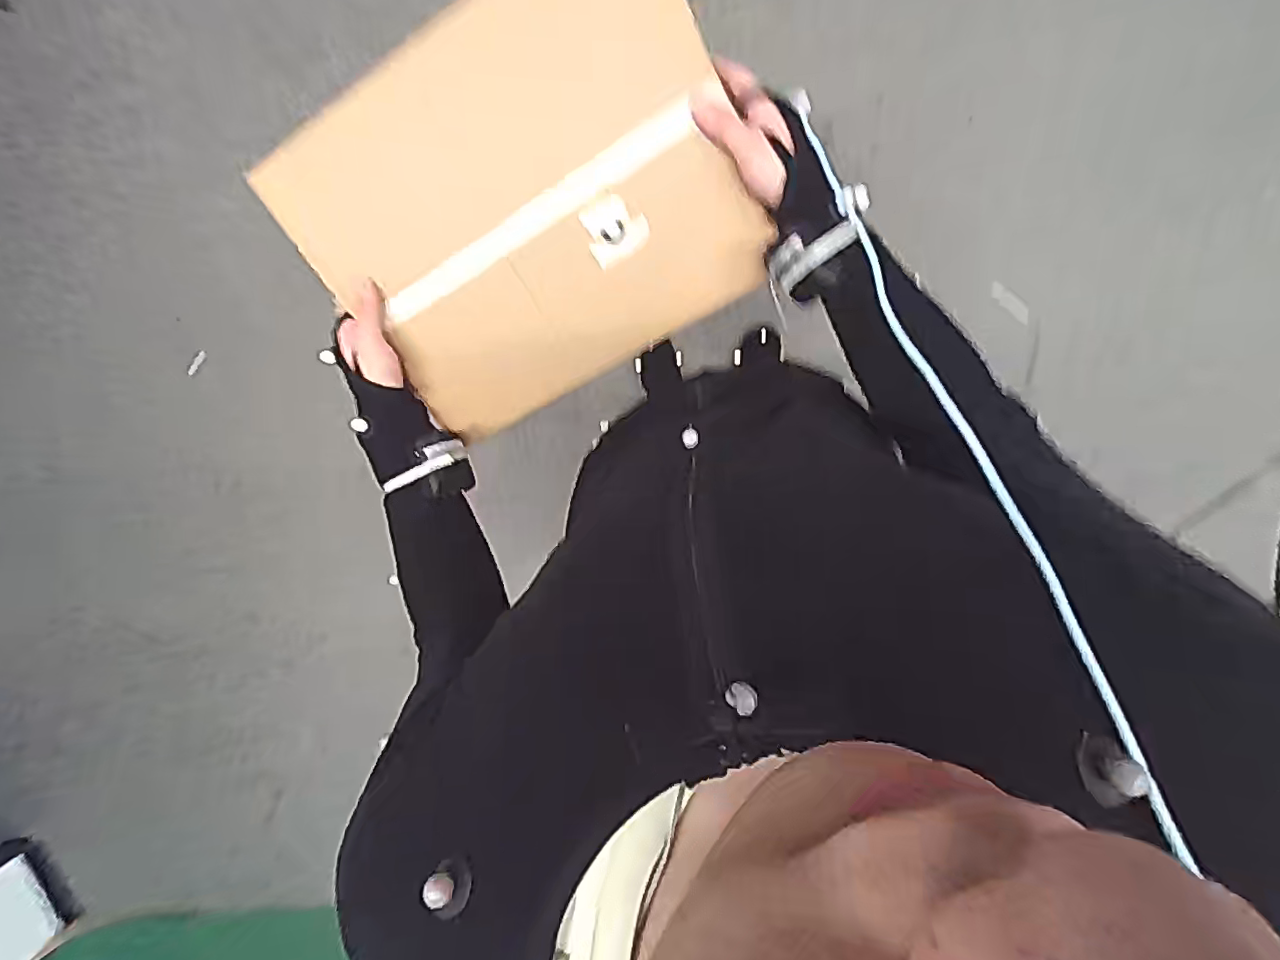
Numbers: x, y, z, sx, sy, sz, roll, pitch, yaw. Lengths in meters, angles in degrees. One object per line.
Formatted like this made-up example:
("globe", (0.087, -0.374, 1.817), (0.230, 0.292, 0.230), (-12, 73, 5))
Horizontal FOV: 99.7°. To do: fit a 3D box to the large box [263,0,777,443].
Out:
("large box", (-0.111, -0.311, 0.648), (0.408, 0.320, 0.320), (-28, 114, 13))
